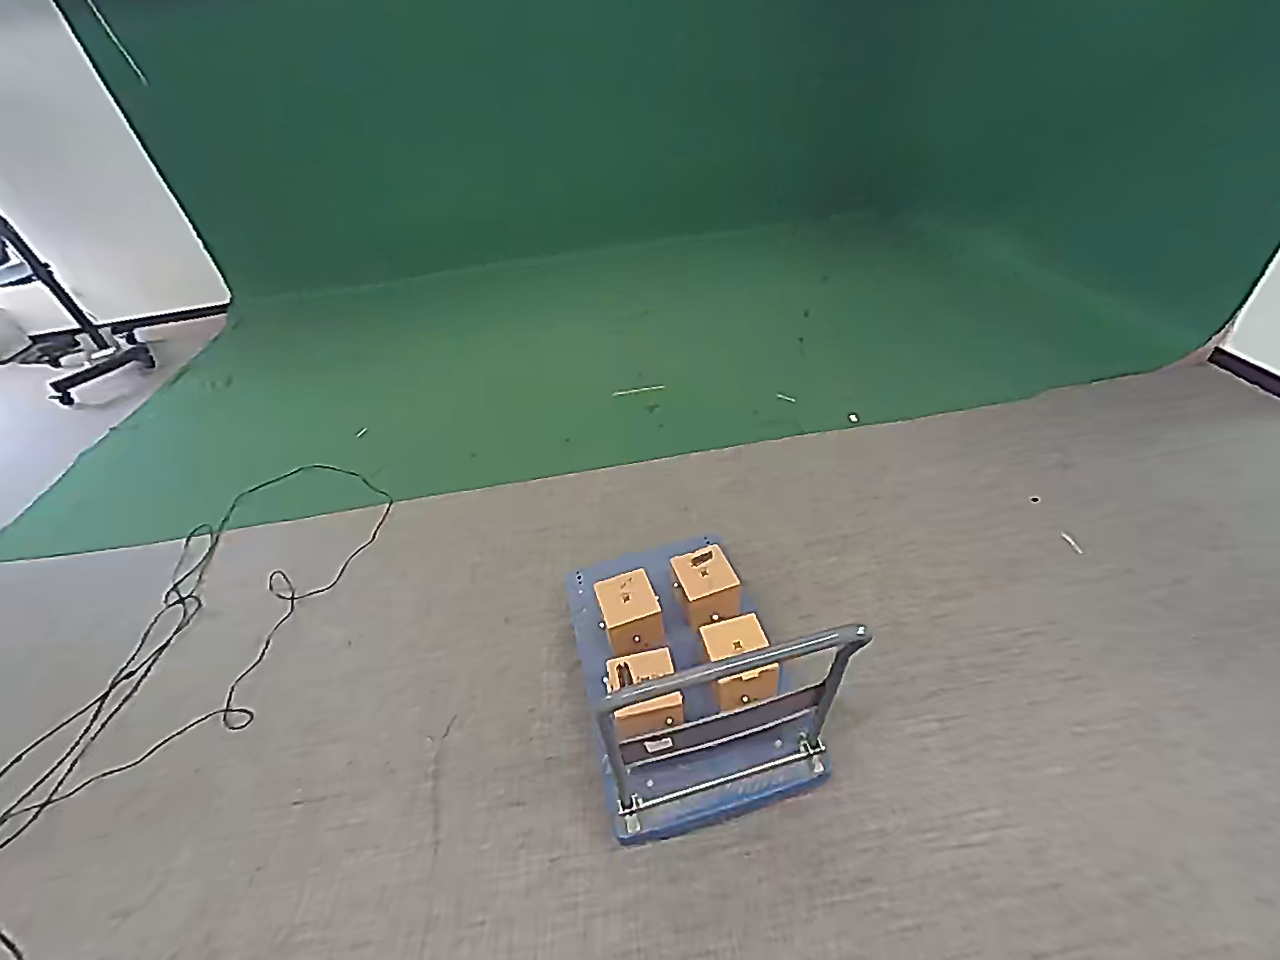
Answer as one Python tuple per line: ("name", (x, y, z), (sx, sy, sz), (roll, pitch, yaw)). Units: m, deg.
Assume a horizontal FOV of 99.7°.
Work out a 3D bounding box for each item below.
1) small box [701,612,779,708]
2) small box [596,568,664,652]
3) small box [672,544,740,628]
("small box", (0.276, 0.509, 1.528), (0.168, 0.176, 0.179), (-13, 42, -6))
("small box", (-0.029, 0.411, 1.686), (0.168, 0.176, 0.179), (-16, 42, -10))
("small box", (0.209, 0.339, 1.728), (0.168, 0.176, 0.179), (-17, 43, -8))
